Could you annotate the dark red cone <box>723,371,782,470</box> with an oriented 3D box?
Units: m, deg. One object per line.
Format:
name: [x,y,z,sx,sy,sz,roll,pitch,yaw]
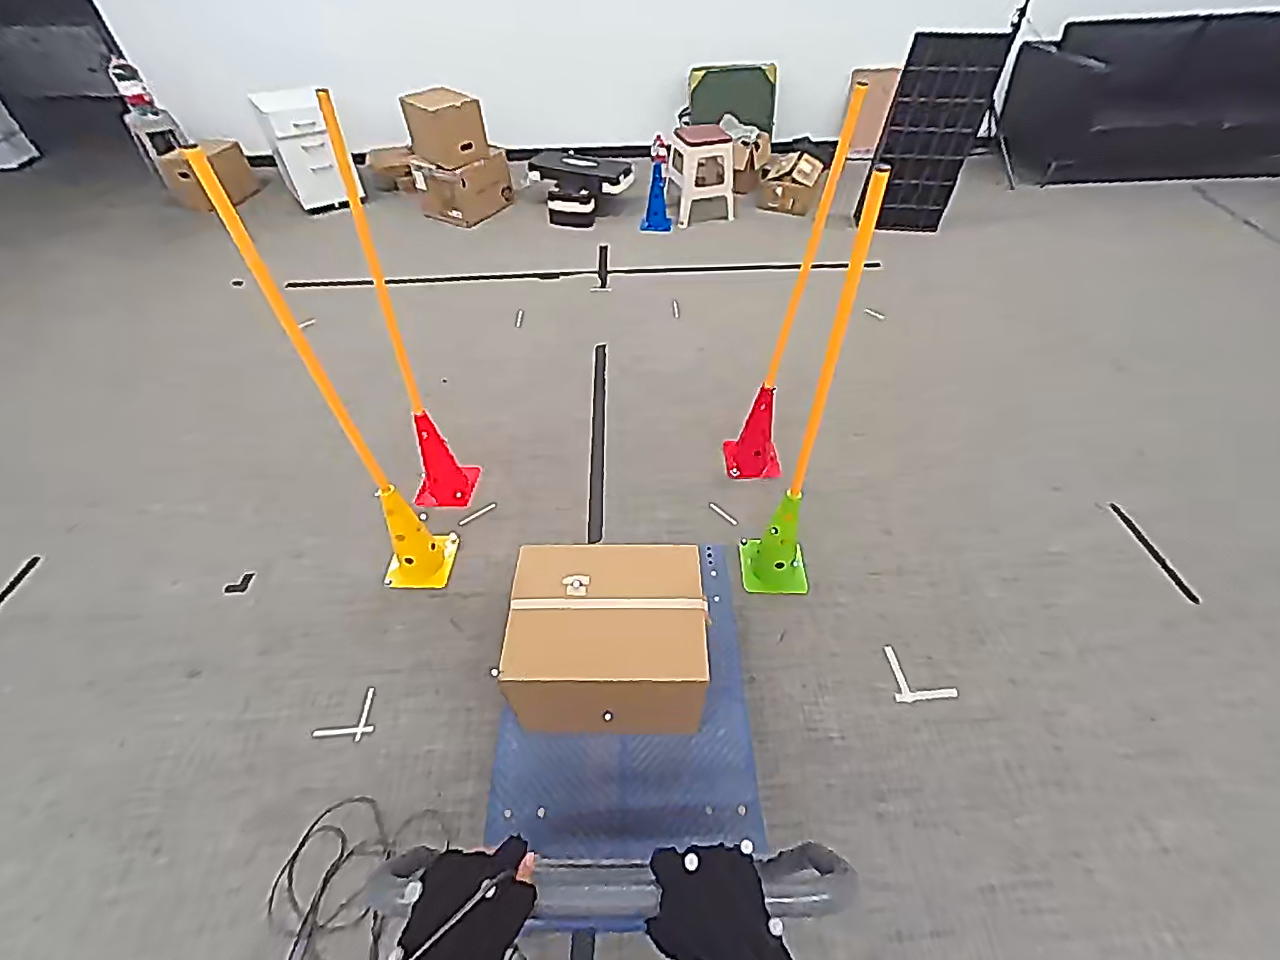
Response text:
dark red cone: [0.431,-0.219,1.933,0.201,0.394,0.202,0,48,-3]

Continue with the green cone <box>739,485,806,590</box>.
green cone: [0.429,0.153,1.621,0.202,0.368,0.200,2,48,0]

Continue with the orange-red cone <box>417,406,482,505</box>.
orange-red cone: [-0.696,-0.108,1.862,0.198,0.360,0.199,5,47,3]

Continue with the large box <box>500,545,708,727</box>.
large box: [-0.065,0.362,1.238,0.408,0.320,0.320,0,48,1]
